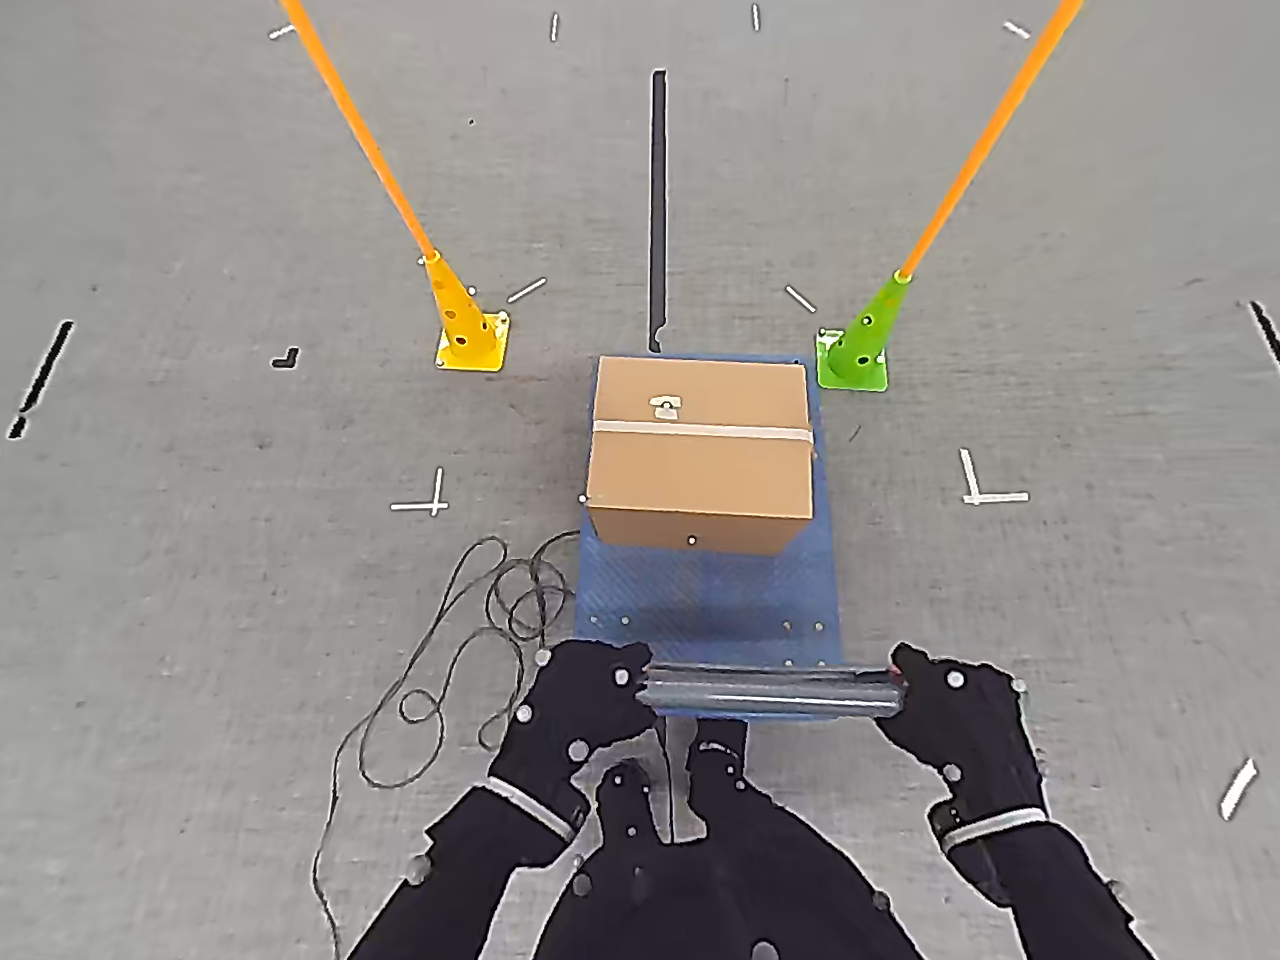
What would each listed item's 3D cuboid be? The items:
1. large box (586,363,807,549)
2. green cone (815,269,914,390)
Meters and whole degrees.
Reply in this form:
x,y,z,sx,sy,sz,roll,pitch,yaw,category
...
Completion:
x,y,z,sx,sy,sz,roll,pitch,yaw,category
0.113,-0.036,1.157,0.408,0.320,0.320,3,70,3,large box
0.623,-0.418,1.441,0.202,0.368,0.200,4,70,1,green cone
